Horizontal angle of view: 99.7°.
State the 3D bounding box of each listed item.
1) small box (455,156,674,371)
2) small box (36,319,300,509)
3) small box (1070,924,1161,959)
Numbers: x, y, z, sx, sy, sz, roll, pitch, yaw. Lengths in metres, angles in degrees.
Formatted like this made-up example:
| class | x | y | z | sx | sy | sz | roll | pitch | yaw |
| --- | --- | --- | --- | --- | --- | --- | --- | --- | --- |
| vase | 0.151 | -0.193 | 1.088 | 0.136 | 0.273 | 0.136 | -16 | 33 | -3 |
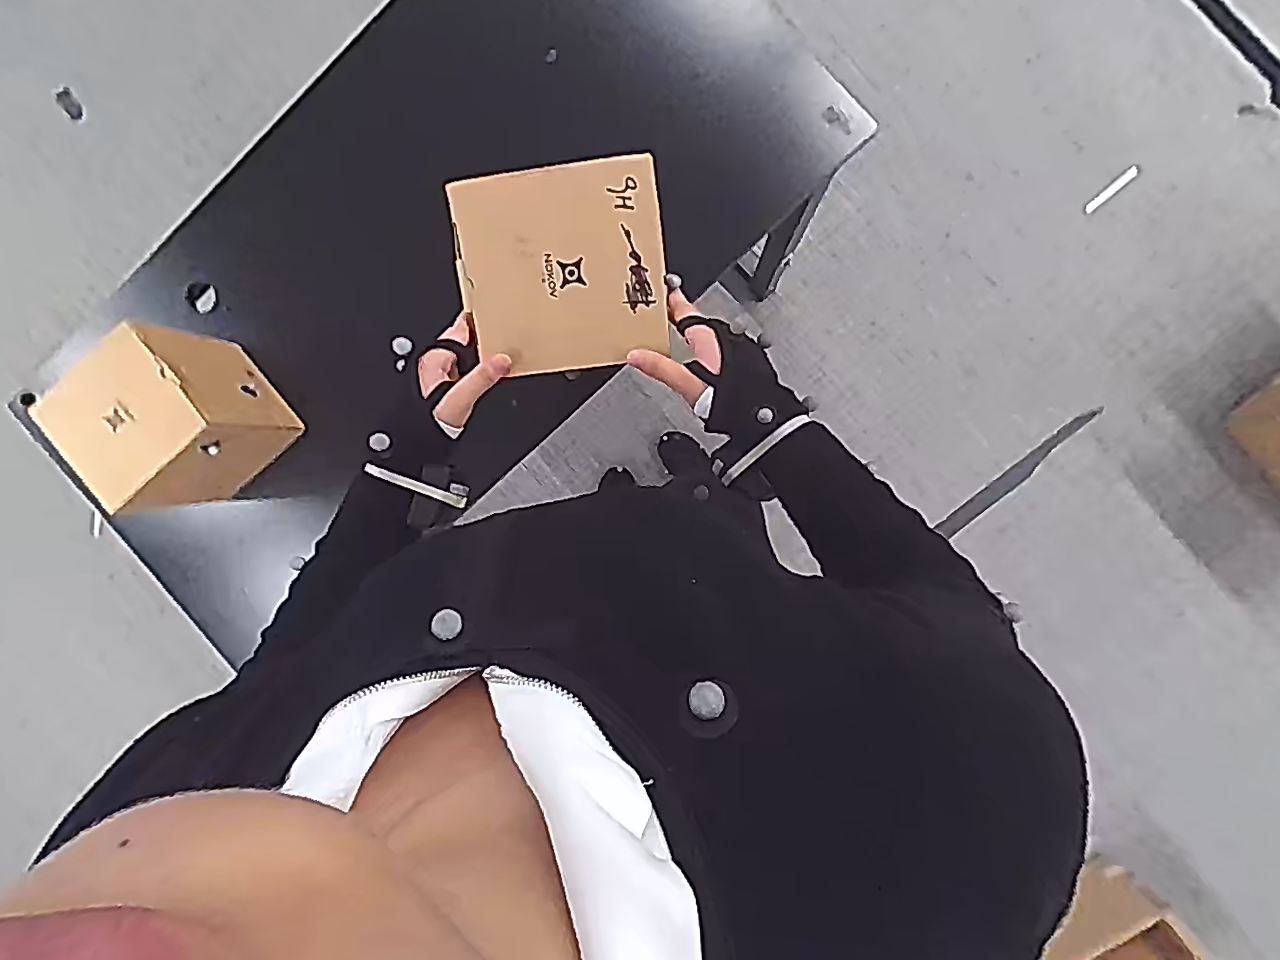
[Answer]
| class | x | y | z | sx | sy | sz | roll | pitch | yaw |
| --- | --- | --- | --- | --- | --- | --- | --- | --- | --- |
| small box | -0.060 | -0.204 | 0.550 | 0.179 | 0.176 | 0.168 | -5 | 105 | 6 |
| small box | -0.619 | -0.081 | 0.733 | 0.179 | 0.176 | 0.168 | -40 | 89 | 4 |
| small box | 1.234 | 1.263 | 1.335 | 0.179 | 0.176 | 0.168 | -38 | 87 | 7 |
